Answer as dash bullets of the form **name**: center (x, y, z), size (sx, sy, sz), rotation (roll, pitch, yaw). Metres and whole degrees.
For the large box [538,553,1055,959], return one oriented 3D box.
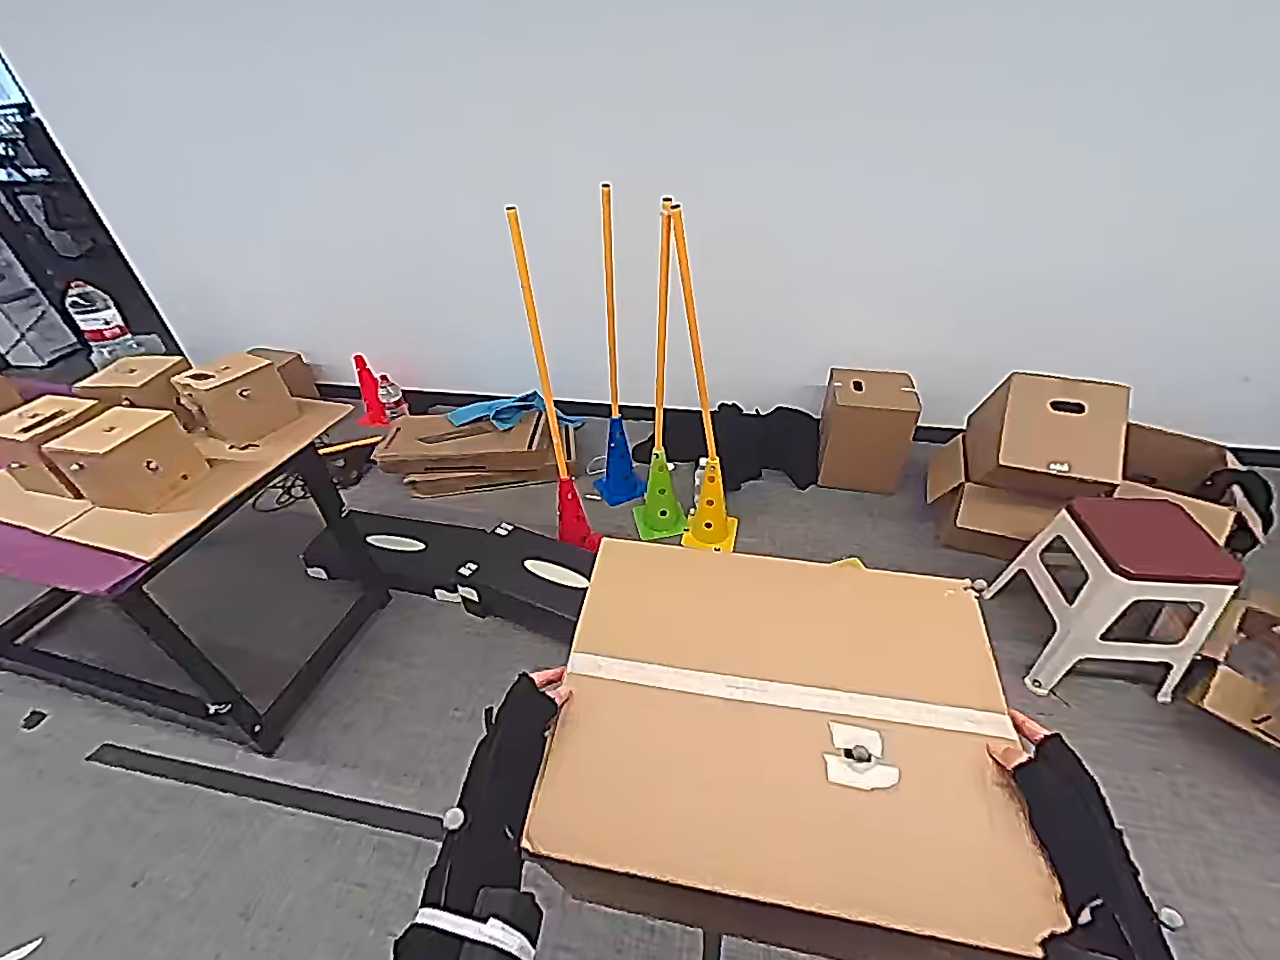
- **large box**: center (0.136, 0.315, 0.626), size (0.408, 0.320, 0.320), rotation (6, 48, 8)
